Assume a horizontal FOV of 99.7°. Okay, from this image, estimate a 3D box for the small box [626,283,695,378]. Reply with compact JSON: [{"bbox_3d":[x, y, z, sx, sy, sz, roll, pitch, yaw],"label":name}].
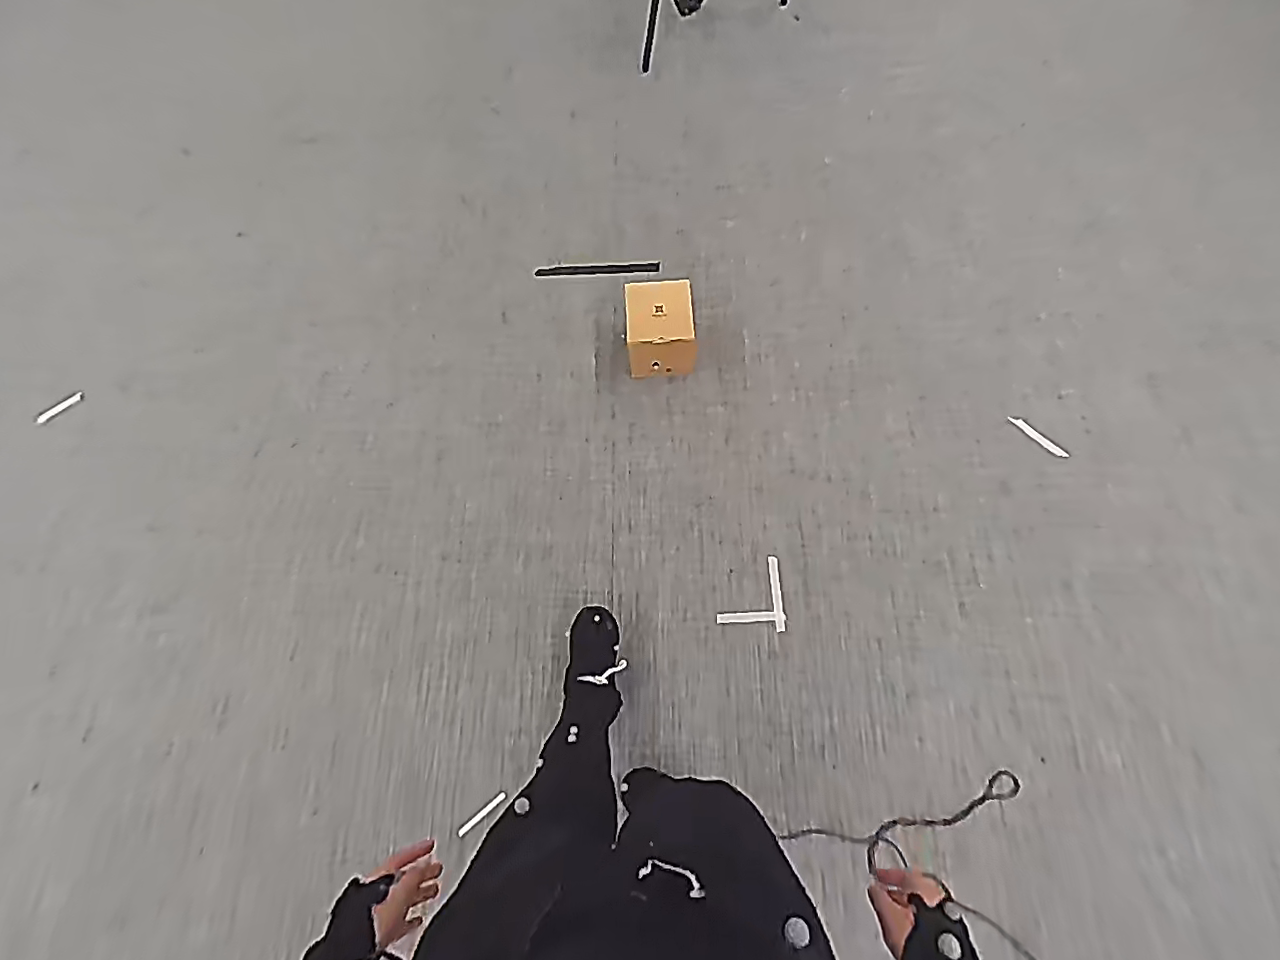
[{"bbox_3d":[0.049,-0.386,1.410,0.168,0.176,0.179,-3,72,0],"label":"small box"}]
